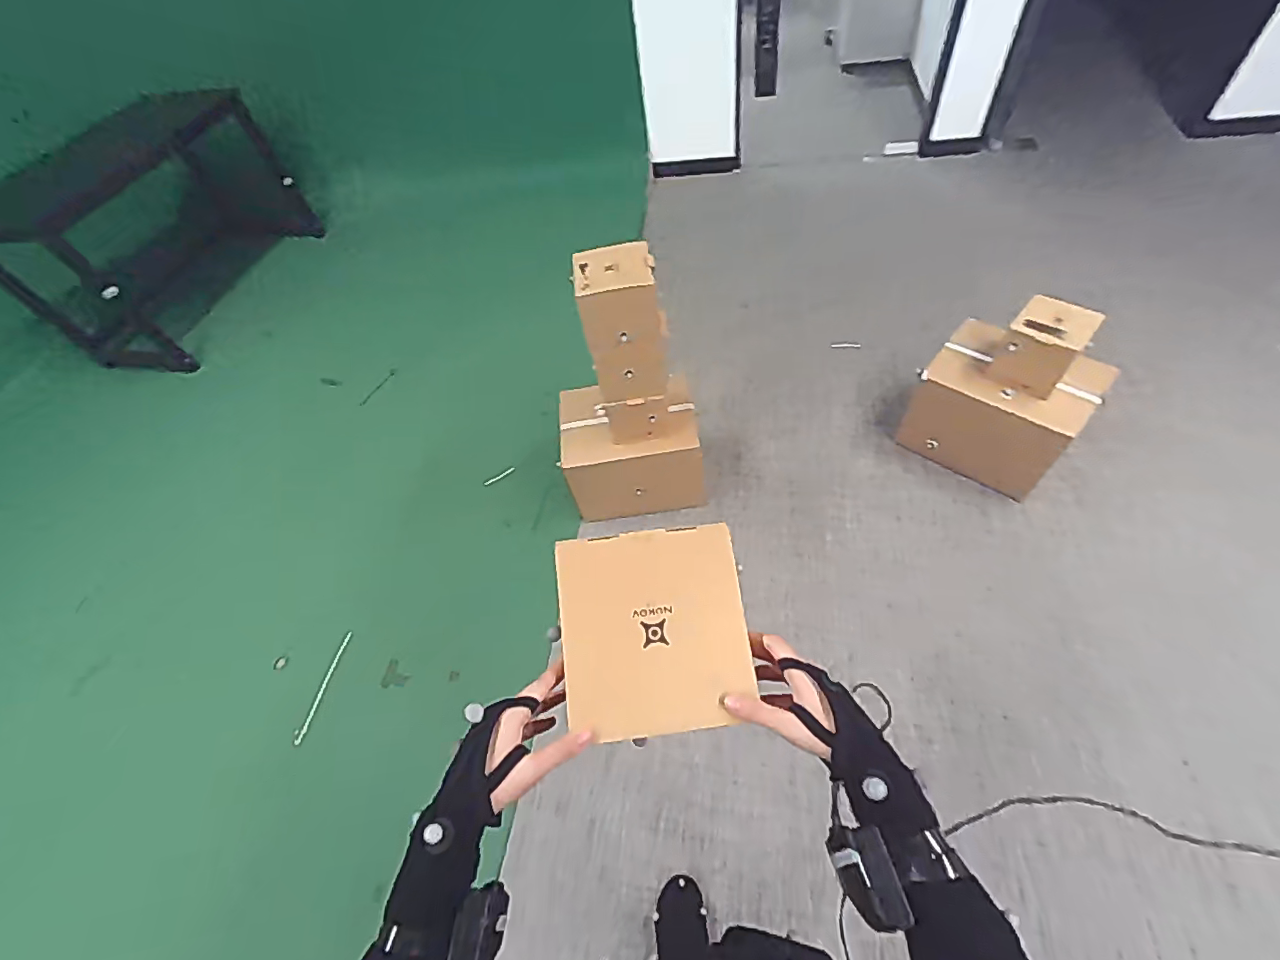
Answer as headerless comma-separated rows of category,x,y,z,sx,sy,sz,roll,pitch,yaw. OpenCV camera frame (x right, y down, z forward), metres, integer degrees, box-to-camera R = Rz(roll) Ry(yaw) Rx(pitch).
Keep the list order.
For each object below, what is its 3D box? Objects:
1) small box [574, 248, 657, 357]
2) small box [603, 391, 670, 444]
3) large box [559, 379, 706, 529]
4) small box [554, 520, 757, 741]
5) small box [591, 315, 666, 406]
small box,-0.054,-0.412,1.267,0.179,0.176,0.168,-8,53,2
small box,-0.011,-0.216,1.526,0.168,0.176,0.179,-8,53,3
large box,-0.021,-0.076,1.731,0.408,0.320,0.320,-10,52,4
small box,0.008,0.152,0.551,0.168,0.176,0.179,-6,70,-4
small box,-0.030,-0.314,1.397,0.179,0.176,0.168,-10,53,3
